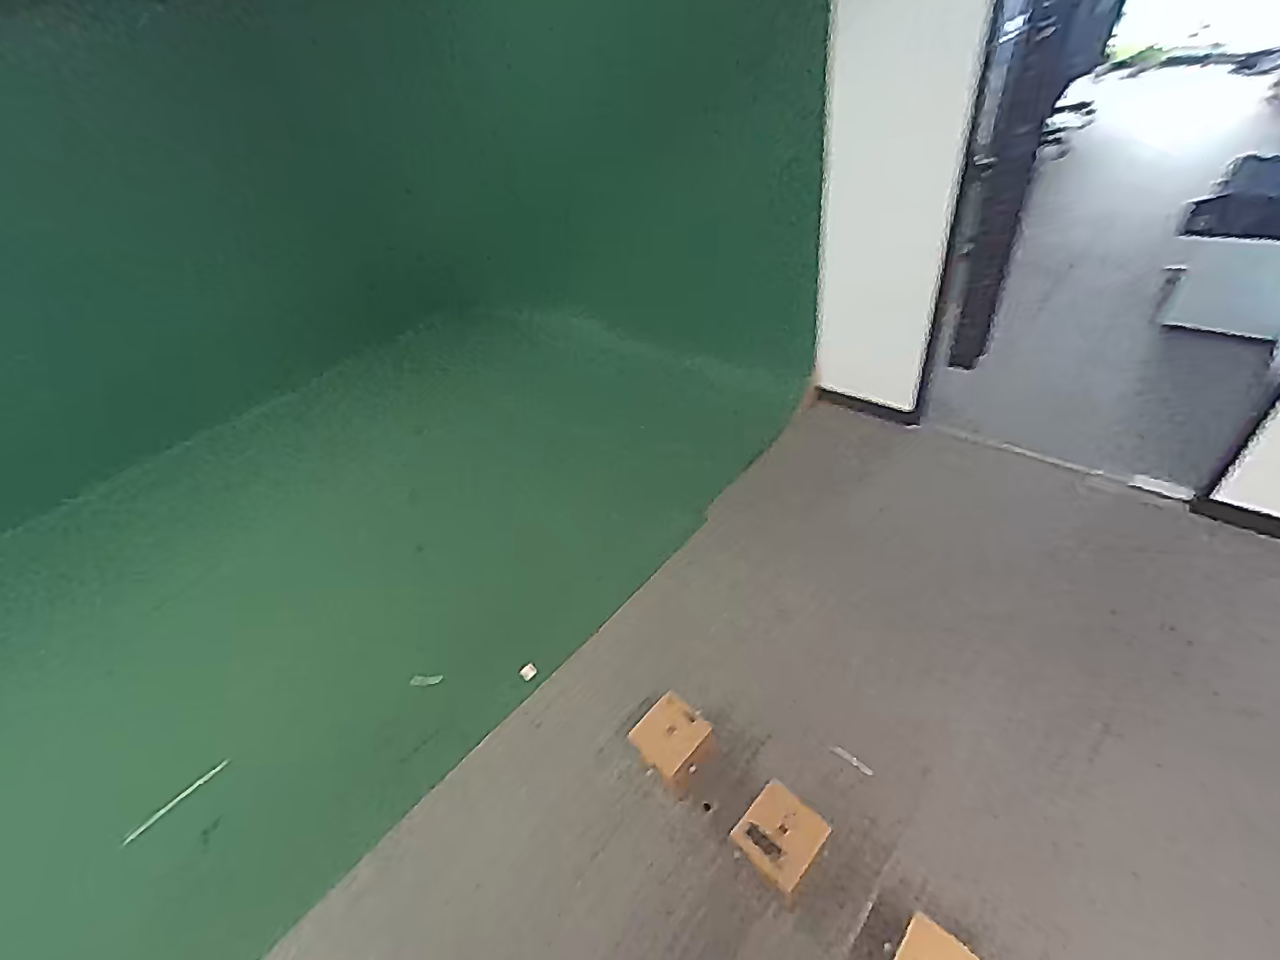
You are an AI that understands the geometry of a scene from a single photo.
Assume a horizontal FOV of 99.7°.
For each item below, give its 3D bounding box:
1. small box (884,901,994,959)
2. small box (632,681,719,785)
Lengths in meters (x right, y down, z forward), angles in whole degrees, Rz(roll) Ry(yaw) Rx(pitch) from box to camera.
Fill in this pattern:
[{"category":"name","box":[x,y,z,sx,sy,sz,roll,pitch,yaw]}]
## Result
[{"category":"small box","box":[0.598,0.998,1.079,0.179,0.176,0.168,27,56,37]},{"category":"small box","box":[0.106,0.713,1.517,0.179,0.176,0.168,-39,48,-24]}]
